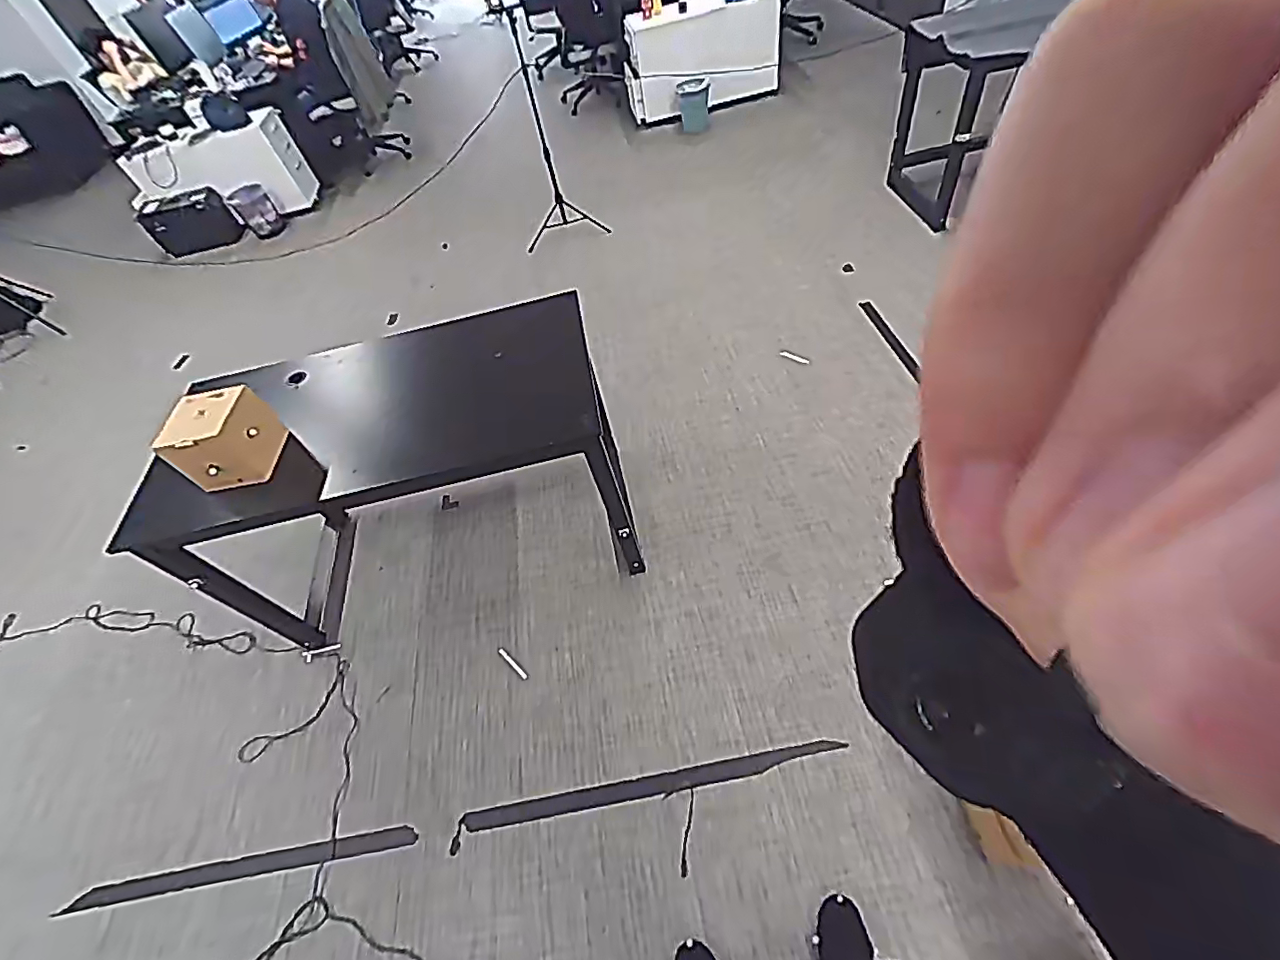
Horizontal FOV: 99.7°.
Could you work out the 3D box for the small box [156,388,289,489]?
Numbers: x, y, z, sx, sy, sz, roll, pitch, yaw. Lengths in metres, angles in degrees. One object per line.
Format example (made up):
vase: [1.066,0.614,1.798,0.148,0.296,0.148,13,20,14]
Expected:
small box: [-1.006,-0.094,1.323,0.168,0.176,0.179,-10,52,4]

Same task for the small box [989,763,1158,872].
small box: [0.842,0.660,1.077,0.168,0.176,0.179,-13,52,1]
